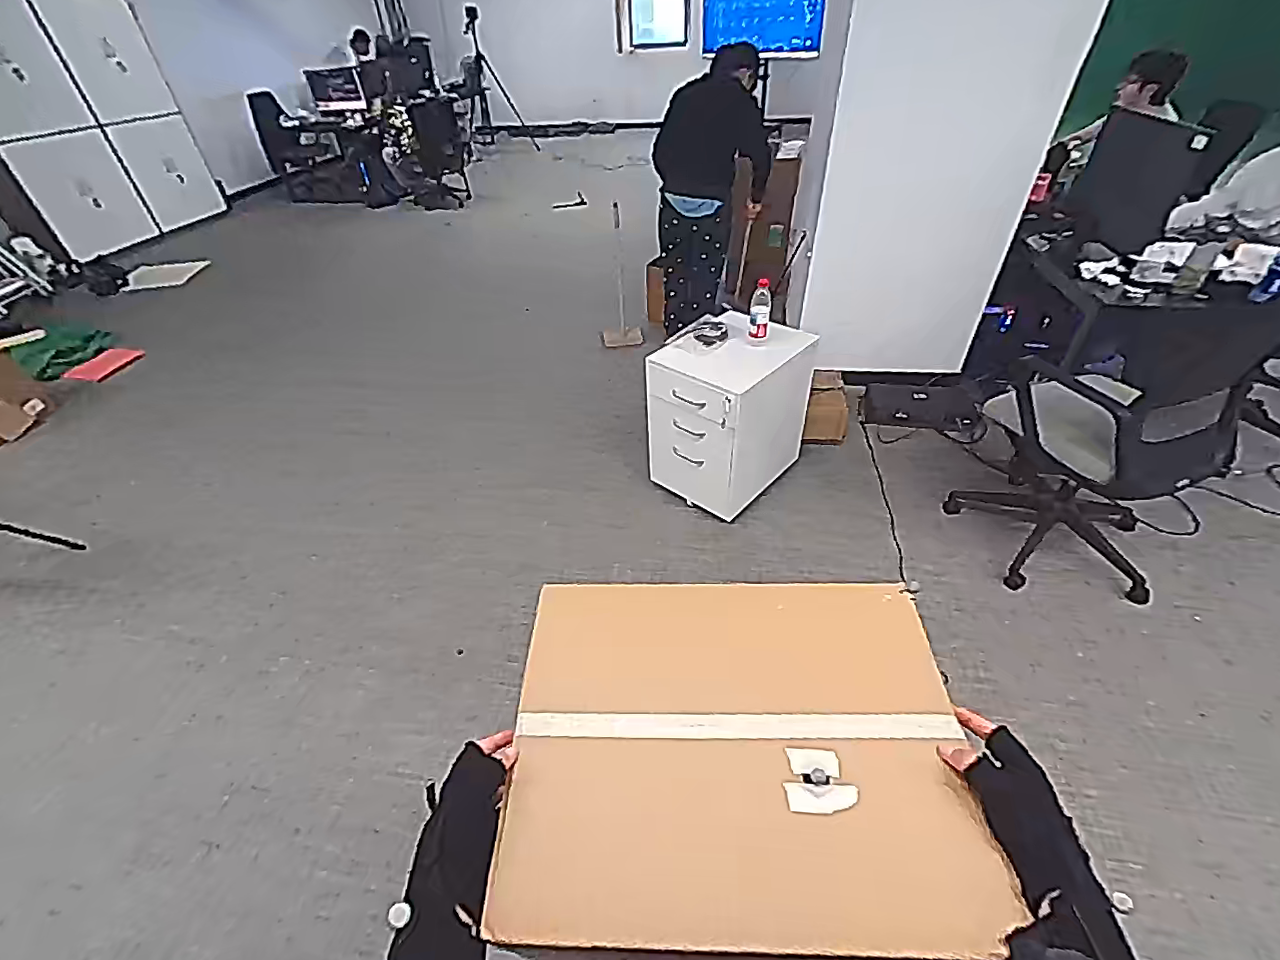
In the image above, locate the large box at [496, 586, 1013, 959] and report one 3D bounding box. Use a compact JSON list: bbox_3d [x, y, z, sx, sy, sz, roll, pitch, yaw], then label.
[{"bbox_3d":[0.091,0.339,0.620,0.408,0.320,0.320,-1,46,3],"label":"large box"}]
